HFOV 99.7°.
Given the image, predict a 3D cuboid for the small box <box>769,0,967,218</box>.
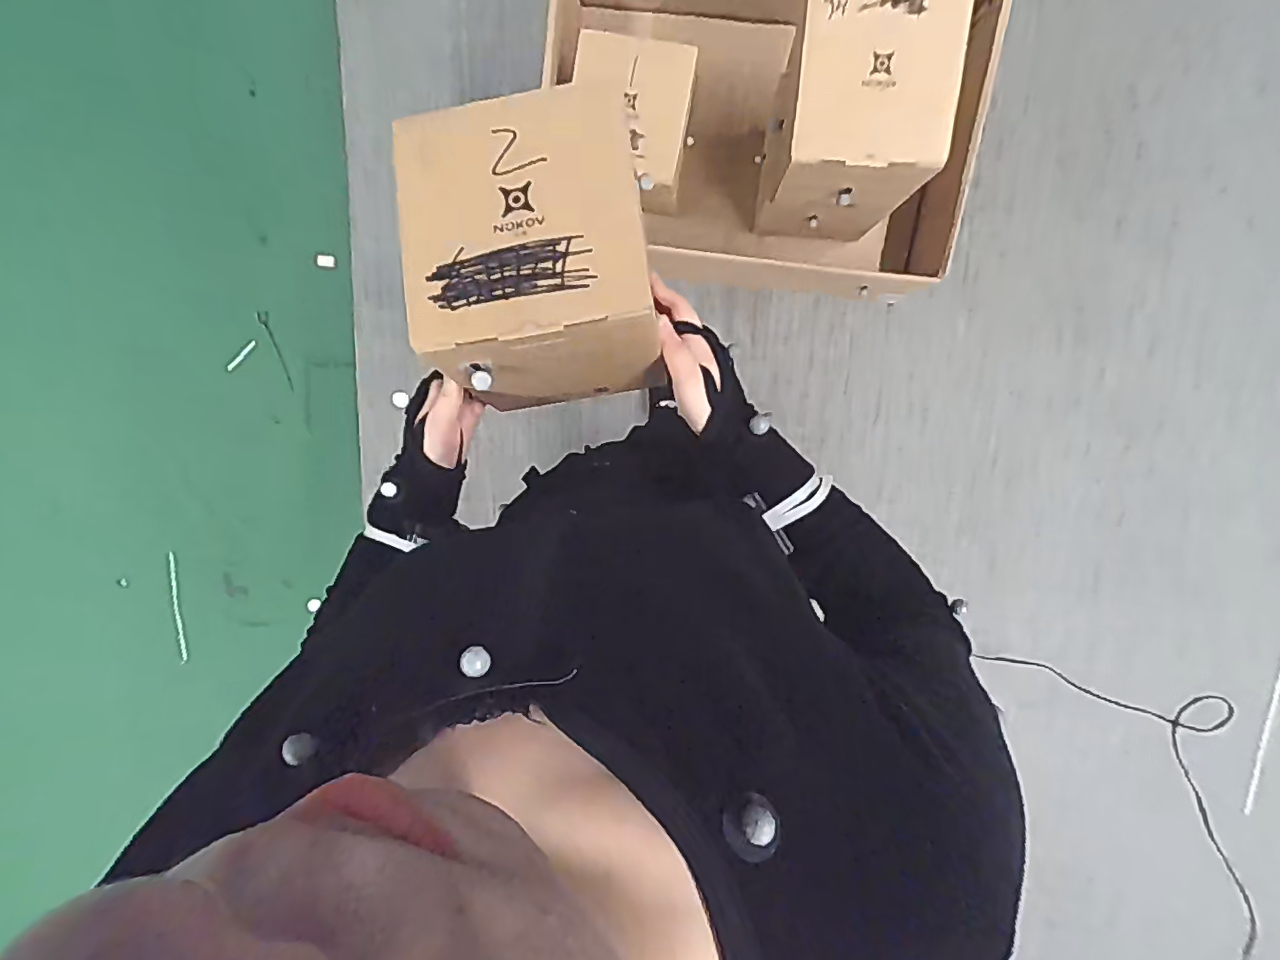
[{"bbox_3d":[0.256,-0.432,0.654,0.168,0.176,0.179,6,102,4],"label":"small box"}]
